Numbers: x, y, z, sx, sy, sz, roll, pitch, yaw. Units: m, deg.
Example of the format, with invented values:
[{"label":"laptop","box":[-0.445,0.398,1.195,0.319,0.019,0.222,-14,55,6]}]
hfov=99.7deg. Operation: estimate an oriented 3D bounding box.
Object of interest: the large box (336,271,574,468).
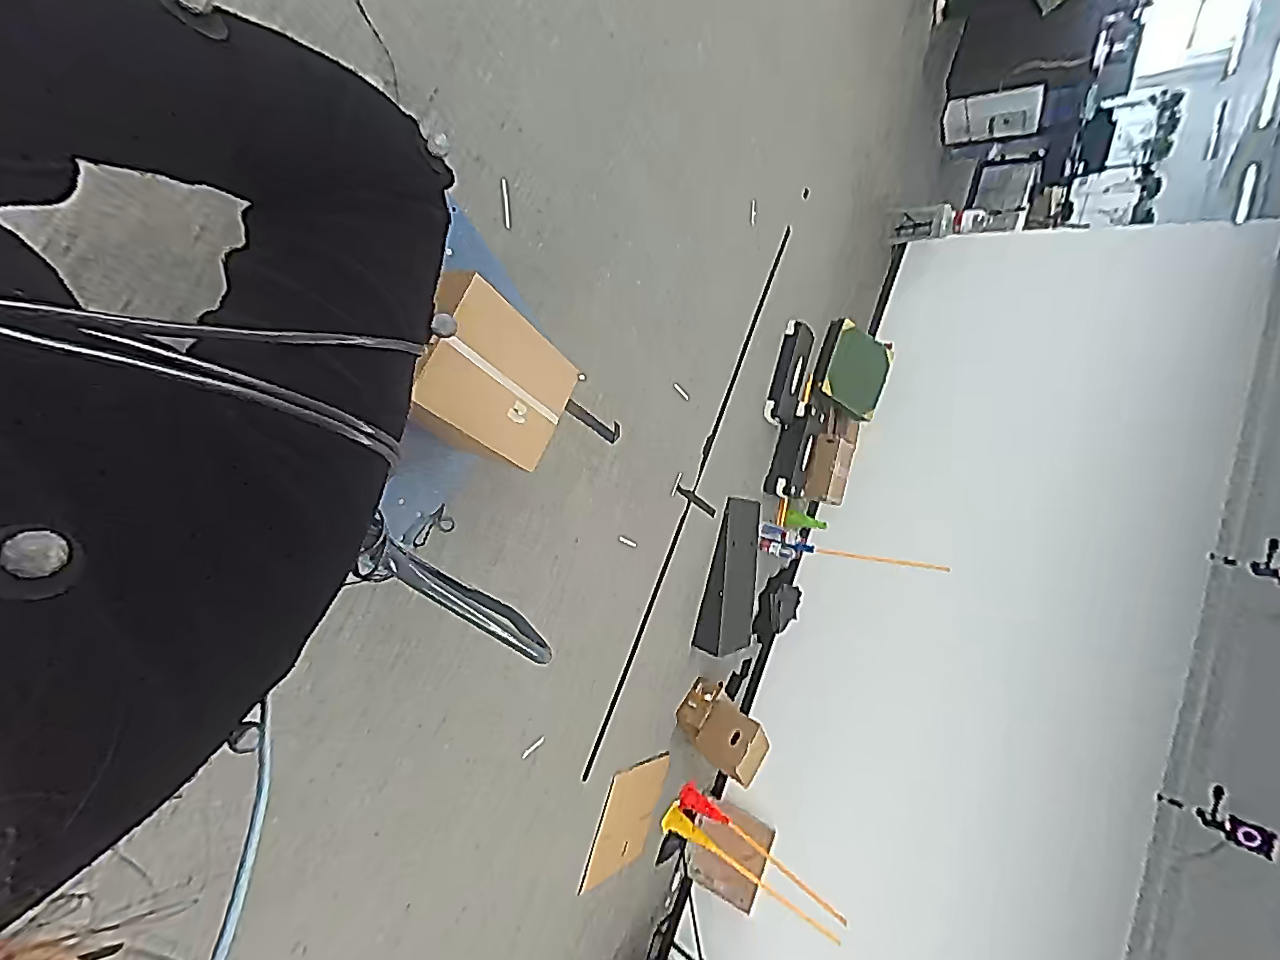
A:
[{"label":"large box","box":[-0.447,-0.270,1.358,0.408,0.320,0.320,39,72,-53]}]
